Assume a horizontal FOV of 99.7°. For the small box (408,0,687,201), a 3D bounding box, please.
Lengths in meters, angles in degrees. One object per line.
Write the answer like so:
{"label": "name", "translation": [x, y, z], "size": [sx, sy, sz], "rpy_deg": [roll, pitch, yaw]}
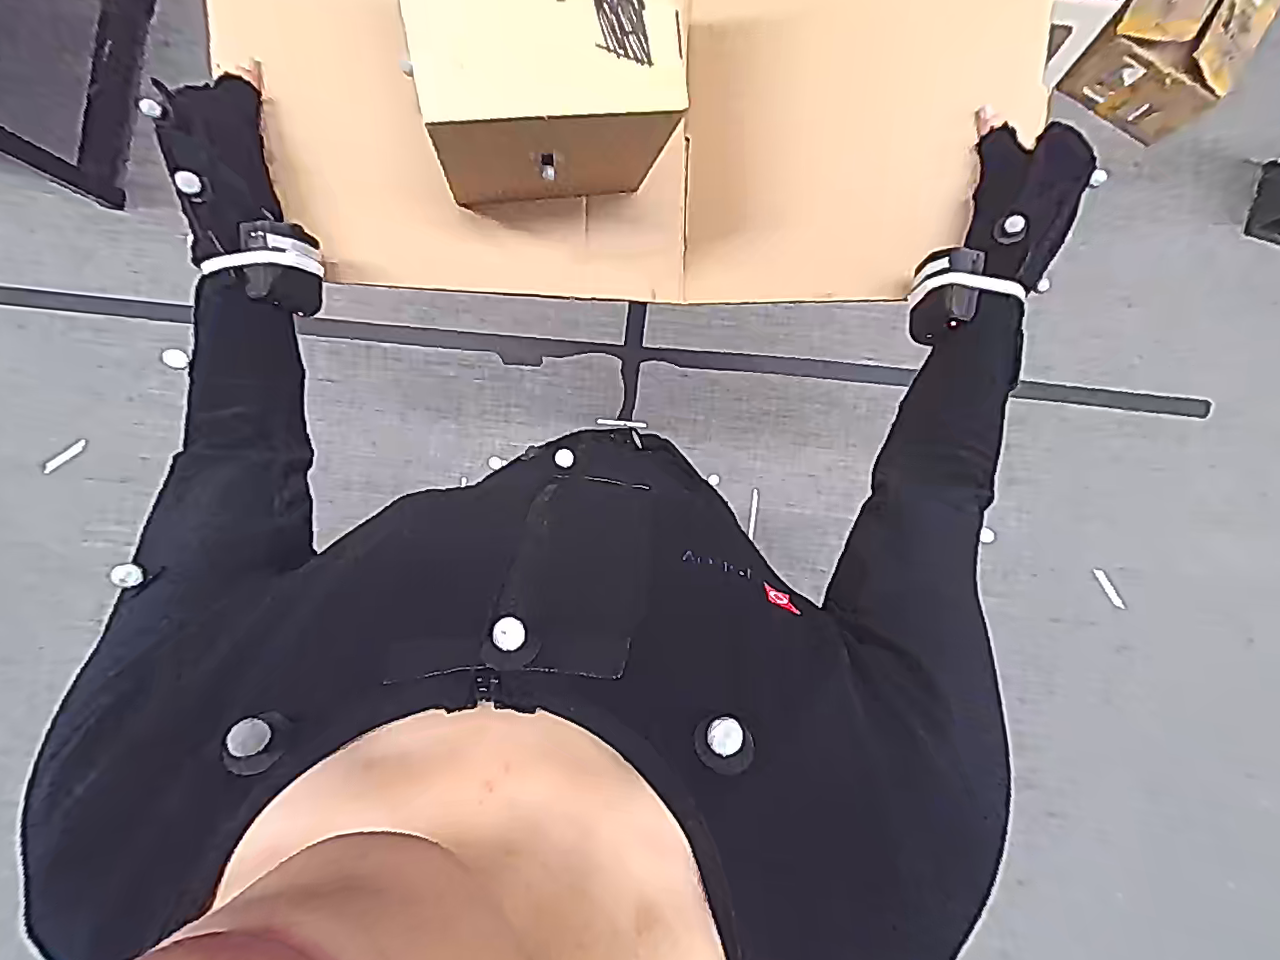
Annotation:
{"label": "small box", "translation": [-0.076, -0.334, 0.422], "size": [0.179, 0.176, 0.168], "rpy_deg": [-9, 102, -10]}
